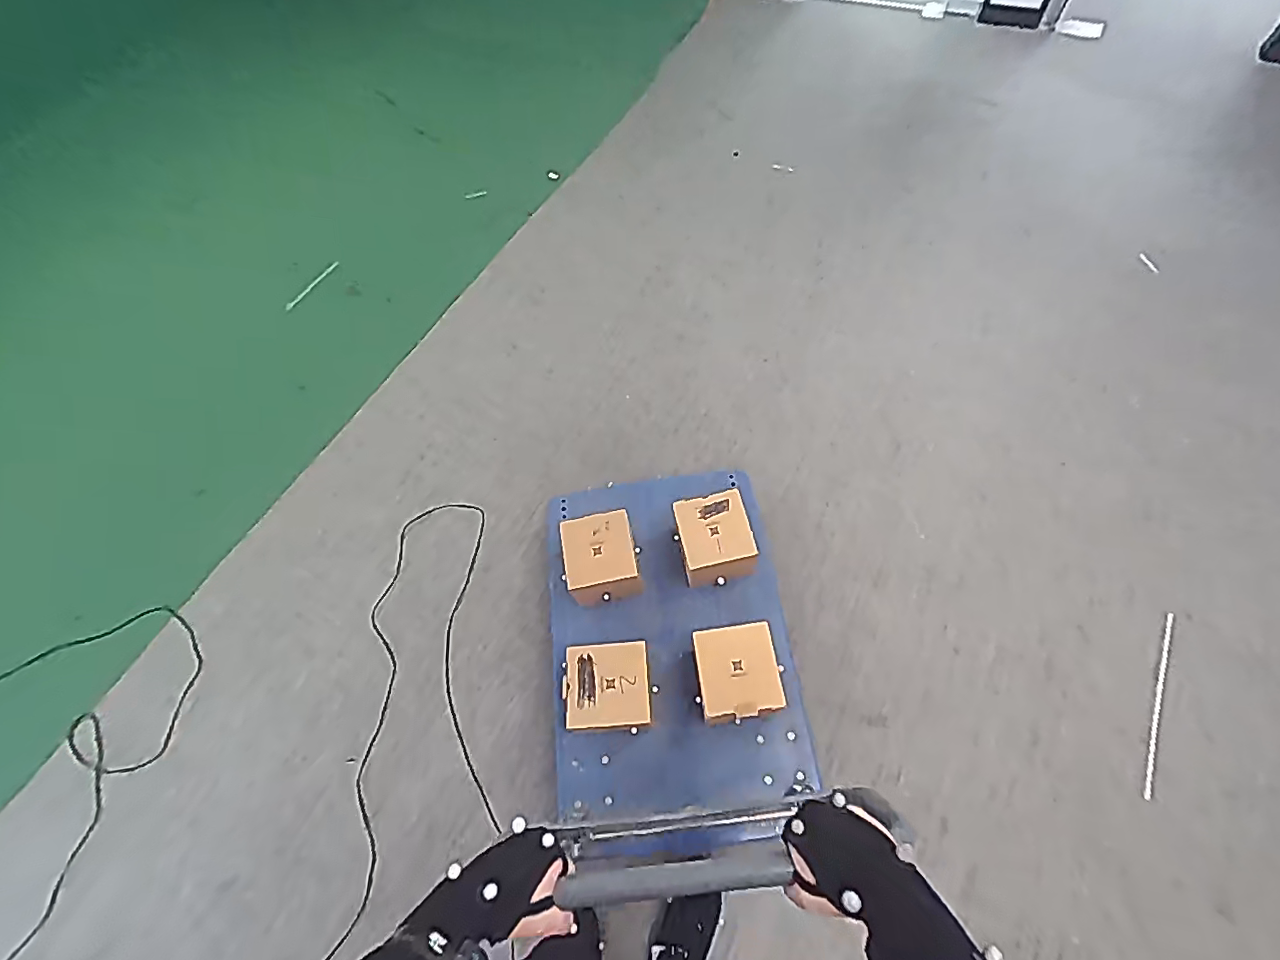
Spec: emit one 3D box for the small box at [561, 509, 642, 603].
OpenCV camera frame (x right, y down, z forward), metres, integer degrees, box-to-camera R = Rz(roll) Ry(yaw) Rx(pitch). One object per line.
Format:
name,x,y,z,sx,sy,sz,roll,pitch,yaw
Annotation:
small box,-0.092,0.196,1.343,0.168,0.176,0.179,-11,62,-1

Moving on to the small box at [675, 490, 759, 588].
small box,0.184,0.150,1.340,0.168,0.176,0.179,-12,63,0

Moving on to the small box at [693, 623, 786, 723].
small box,0.210,0.429,1.195,0.168,0.176,0.179,-8,63,1
